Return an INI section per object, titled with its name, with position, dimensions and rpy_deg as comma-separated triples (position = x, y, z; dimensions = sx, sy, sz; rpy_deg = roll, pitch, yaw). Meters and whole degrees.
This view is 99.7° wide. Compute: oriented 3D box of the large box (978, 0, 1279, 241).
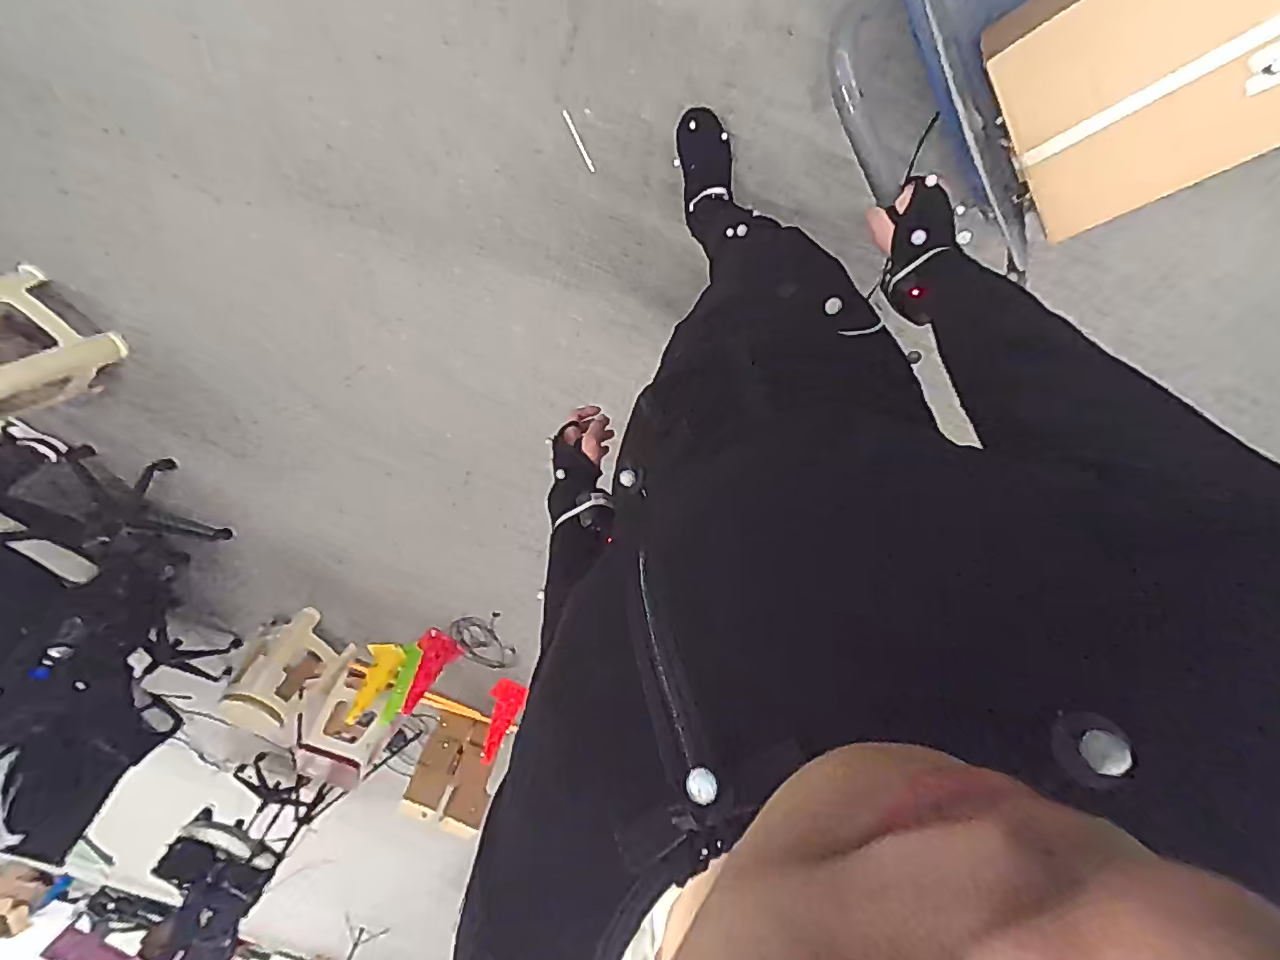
[large box]
position = 0.798, -0.657, 0.831
dimensions = 0.408, 0.320, 0.320
rpy_deg = -18, 121, 41
